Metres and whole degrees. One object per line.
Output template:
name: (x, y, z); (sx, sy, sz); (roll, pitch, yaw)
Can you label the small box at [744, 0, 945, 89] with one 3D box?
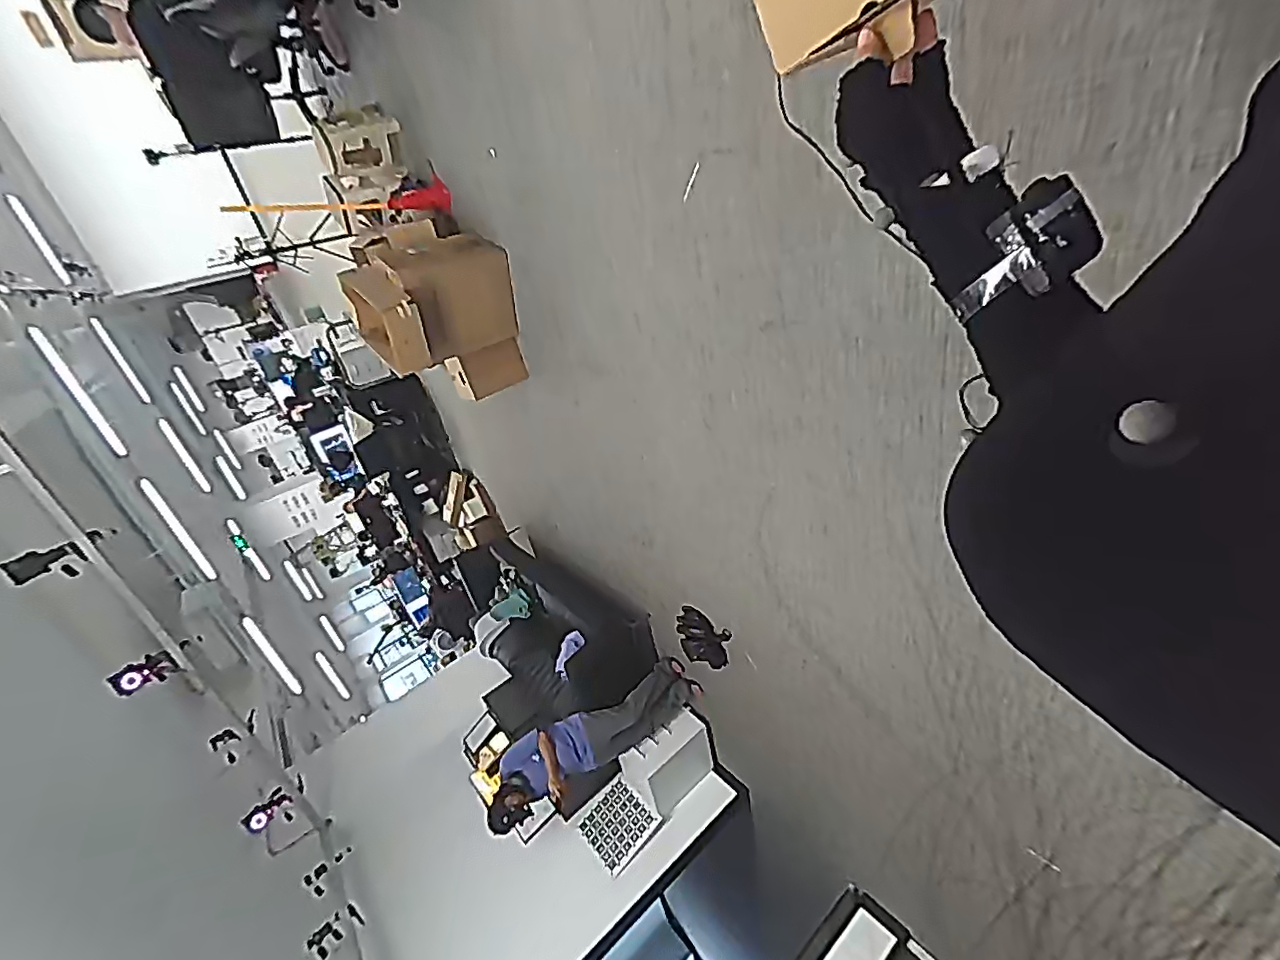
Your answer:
small box: (0.178, -0.442, 0.399); (0.168, 0.176, 0.179); (2, 126, 52)
